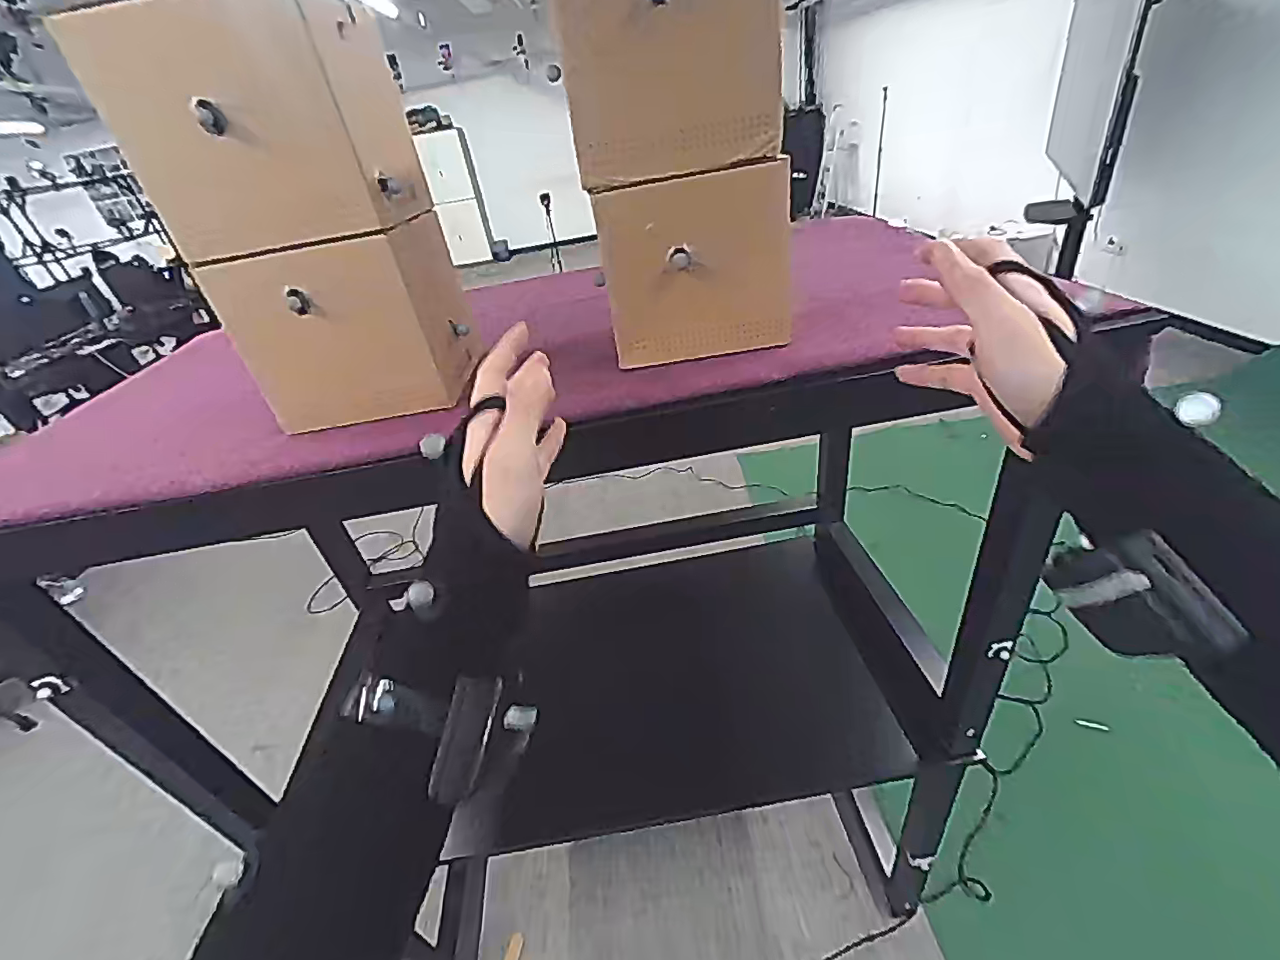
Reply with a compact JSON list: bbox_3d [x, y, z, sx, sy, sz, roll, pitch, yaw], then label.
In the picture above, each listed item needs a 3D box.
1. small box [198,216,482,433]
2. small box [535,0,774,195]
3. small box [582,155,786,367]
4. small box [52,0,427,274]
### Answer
[{"bbox_3d":[-0.291,-0.164,0.574,0.179,0.176,0.168,-10,34,3],"label":"small box"},{"bbox_3d":[0.015,-0.367,0.485,0.179,0.176,0.168,-8,34,5],"label":"small box"},{"bbox_3d":[0.047,-0.233,0.574,0.179,0.176,0.168,-10,34,4],"label":"small box"},{"bbox_3d":[-0.318,-0.299,0.483,0.179,0.176,0.168,-11,33,3],"label":"small box"}]
